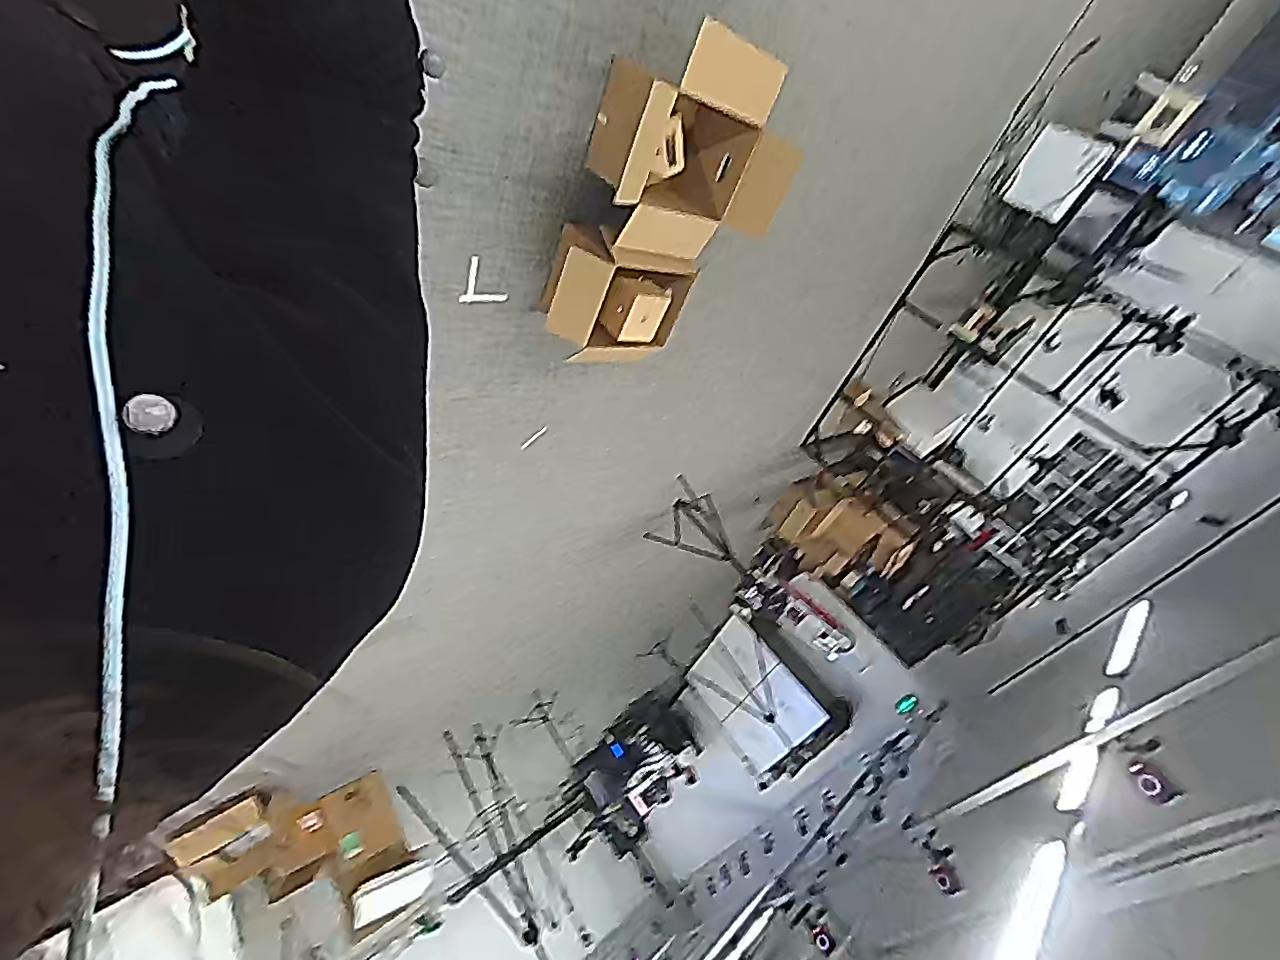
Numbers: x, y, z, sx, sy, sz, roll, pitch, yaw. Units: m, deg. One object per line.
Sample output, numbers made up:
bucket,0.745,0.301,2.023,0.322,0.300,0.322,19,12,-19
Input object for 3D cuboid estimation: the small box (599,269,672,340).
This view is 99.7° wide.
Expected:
small box,-0.024,-0.624,1.926,0.168,0.176,0.179,-11,140,-42
